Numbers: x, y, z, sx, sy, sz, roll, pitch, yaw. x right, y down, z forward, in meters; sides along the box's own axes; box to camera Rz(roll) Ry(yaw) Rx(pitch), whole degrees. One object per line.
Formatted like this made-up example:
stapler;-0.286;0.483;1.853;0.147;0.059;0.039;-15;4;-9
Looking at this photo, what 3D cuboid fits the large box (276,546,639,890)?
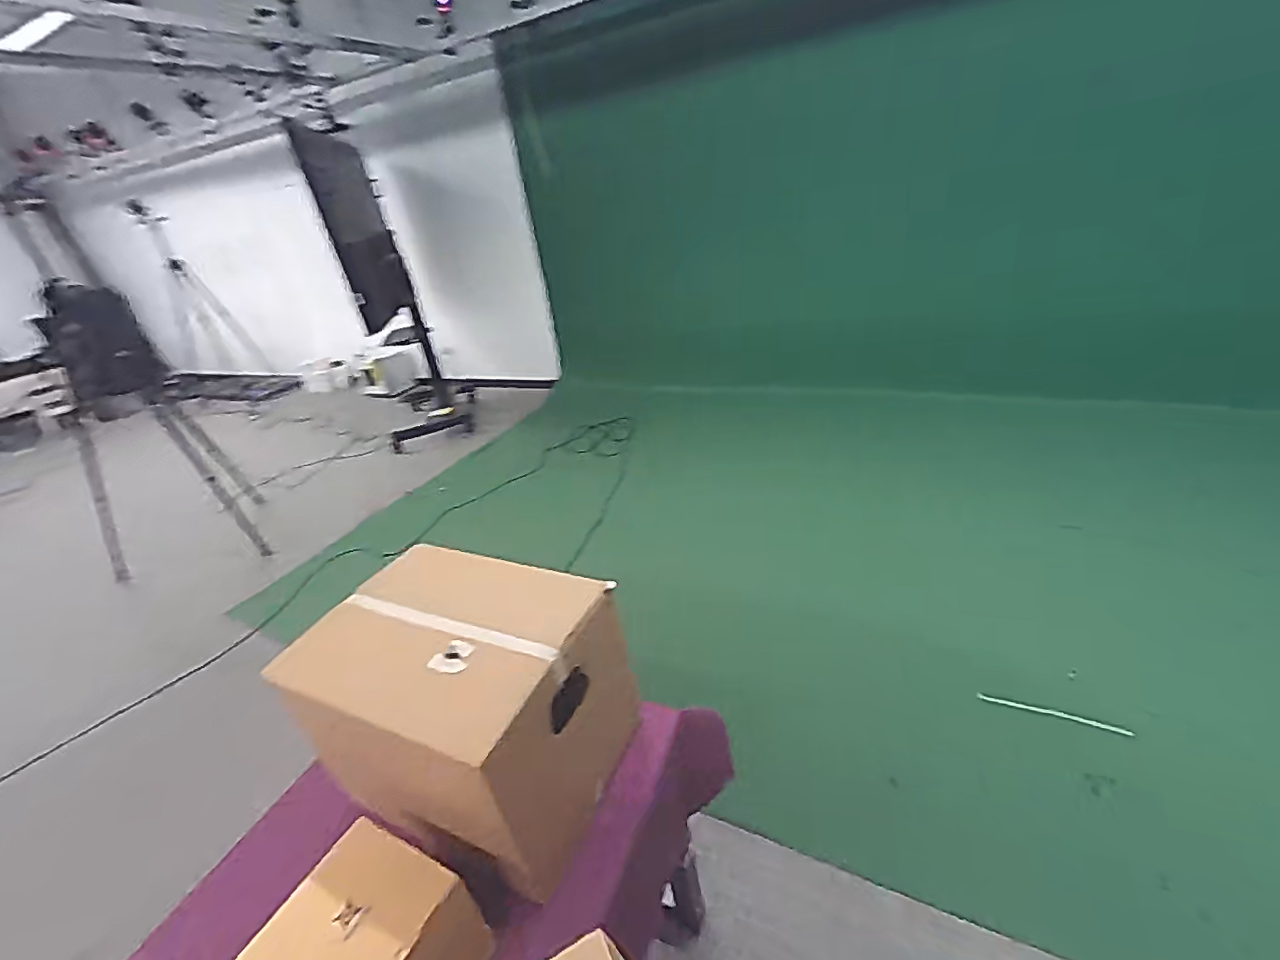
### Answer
large box;-0.257;0.343;0.862;0.408;0.320;0.320;7;33;25
